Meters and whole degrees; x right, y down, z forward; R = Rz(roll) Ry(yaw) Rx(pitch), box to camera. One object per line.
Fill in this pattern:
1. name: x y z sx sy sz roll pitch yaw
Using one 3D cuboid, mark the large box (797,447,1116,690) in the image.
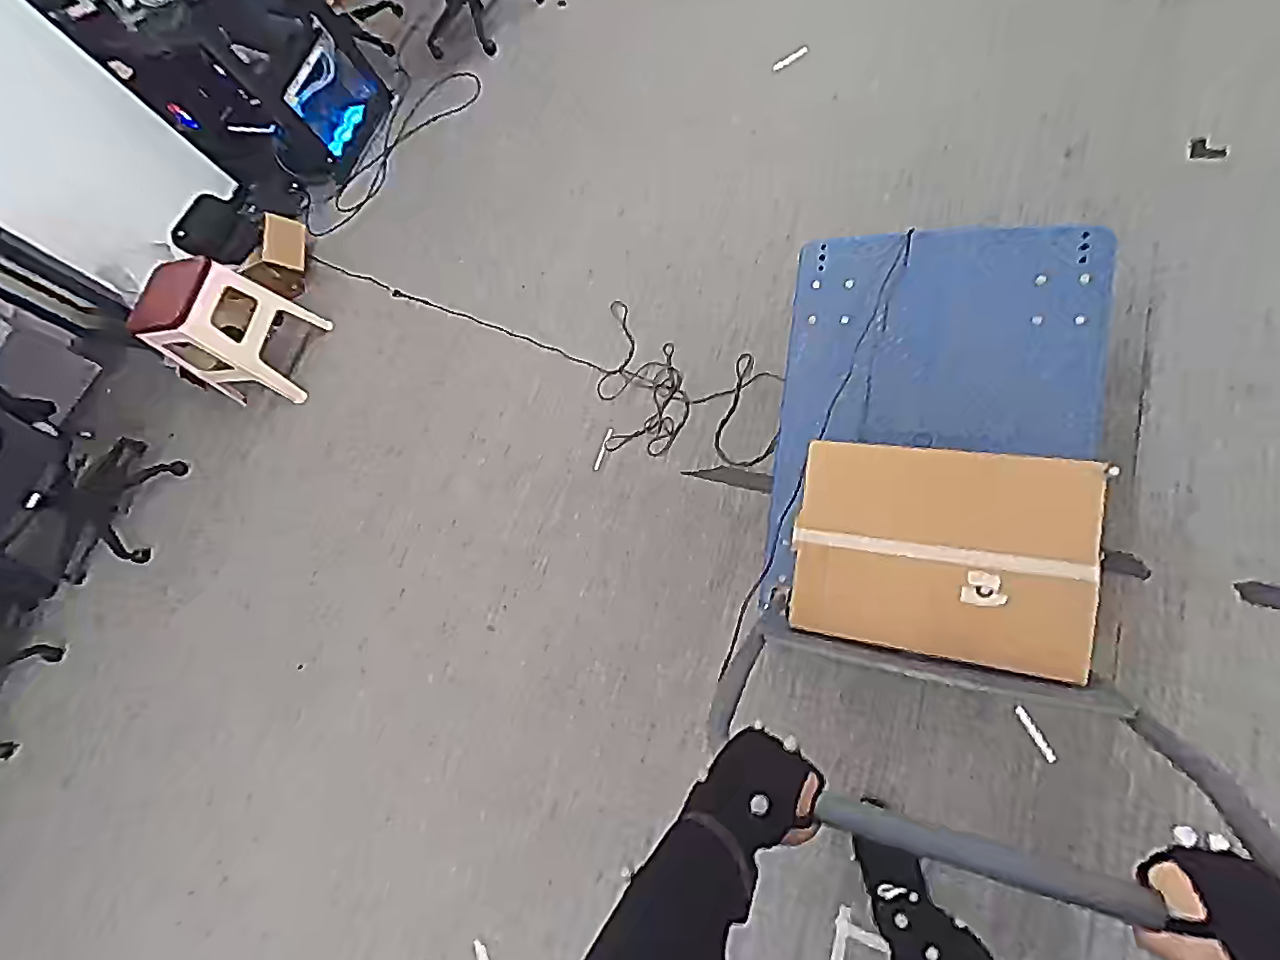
1. large box: 0.501 0.129 0.942 0.408 0.320 0.320 7 88 20
